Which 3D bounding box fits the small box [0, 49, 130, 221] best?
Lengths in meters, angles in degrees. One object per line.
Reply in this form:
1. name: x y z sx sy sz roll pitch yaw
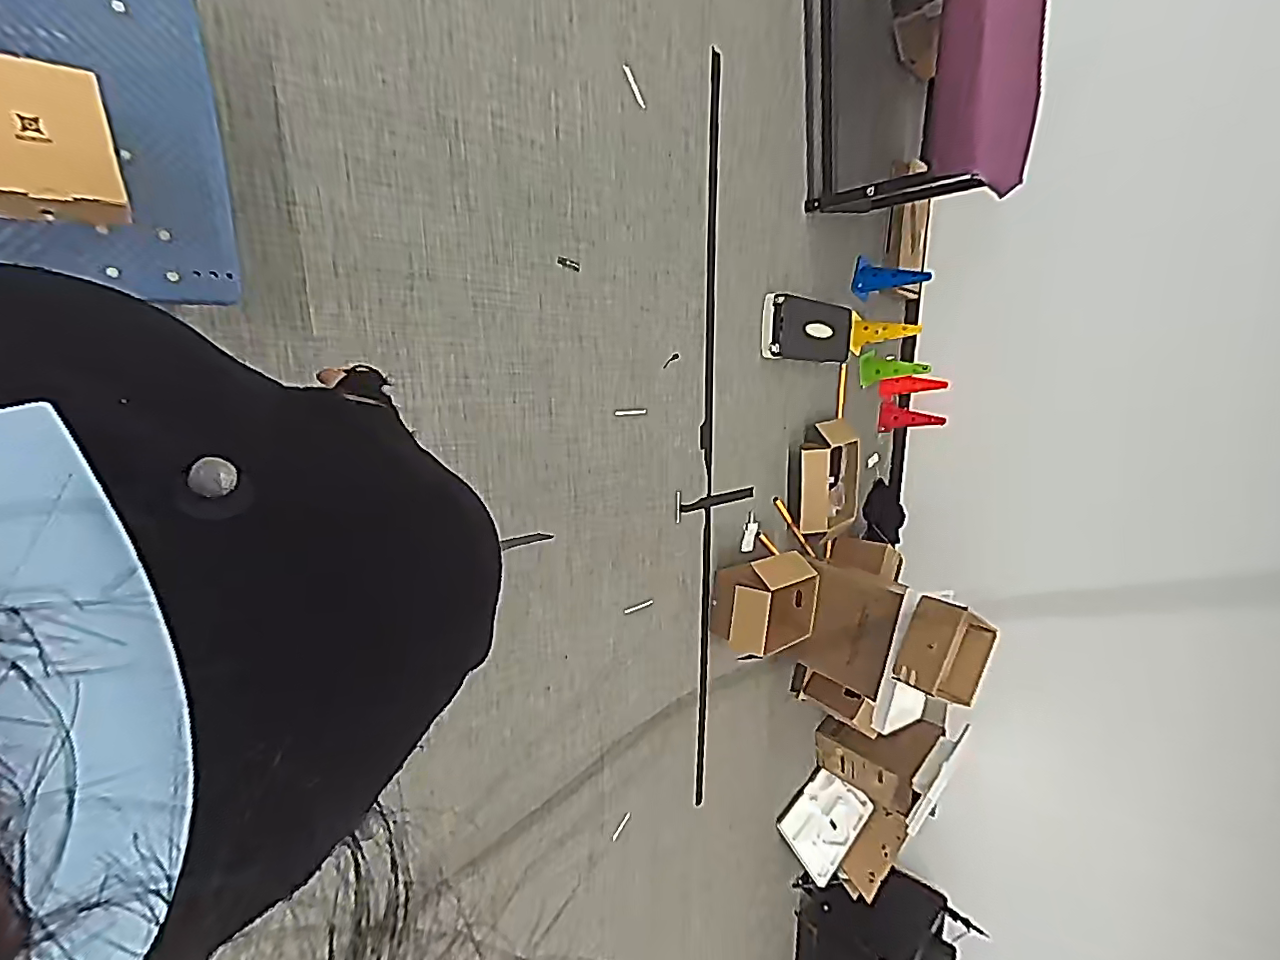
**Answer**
1. small box: -0.889 -0.500 0.799 0.168 0.176 0.179 -15 110 -40
